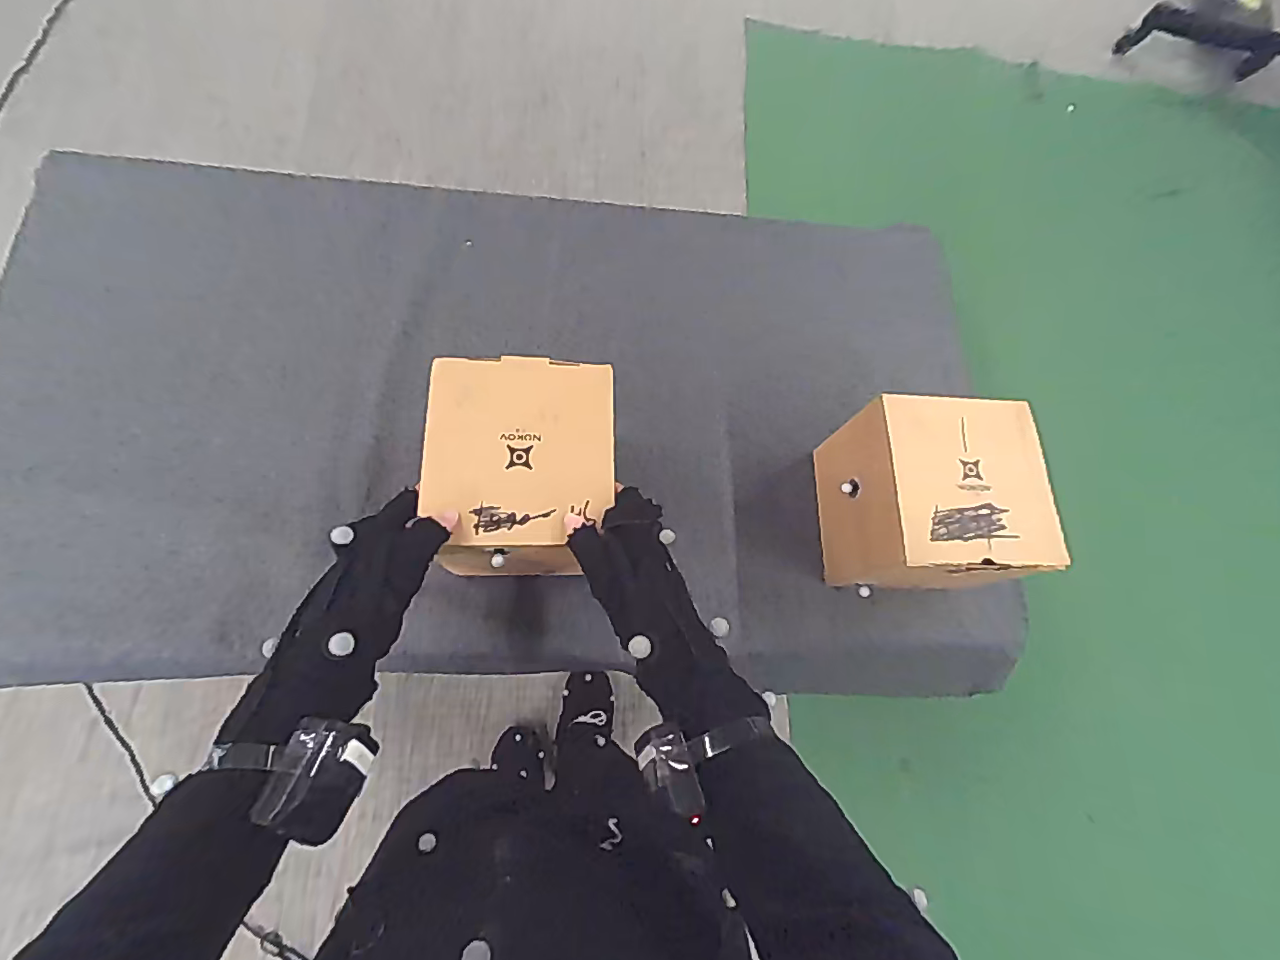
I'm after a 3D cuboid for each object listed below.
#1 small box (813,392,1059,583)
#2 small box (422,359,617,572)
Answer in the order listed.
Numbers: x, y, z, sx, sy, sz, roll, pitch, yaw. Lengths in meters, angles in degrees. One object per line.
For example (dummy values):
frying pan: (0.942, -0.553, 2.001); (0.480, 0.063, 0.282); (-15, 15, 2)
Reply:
small box: (0.311, 0.020, 0.608); (0.168, 0.176, 0.179); (2, 71, -6)
small box: (-0.113, -0.004, 0.560); (0.168, 0.176, 0.179); (1, 73, -7)
